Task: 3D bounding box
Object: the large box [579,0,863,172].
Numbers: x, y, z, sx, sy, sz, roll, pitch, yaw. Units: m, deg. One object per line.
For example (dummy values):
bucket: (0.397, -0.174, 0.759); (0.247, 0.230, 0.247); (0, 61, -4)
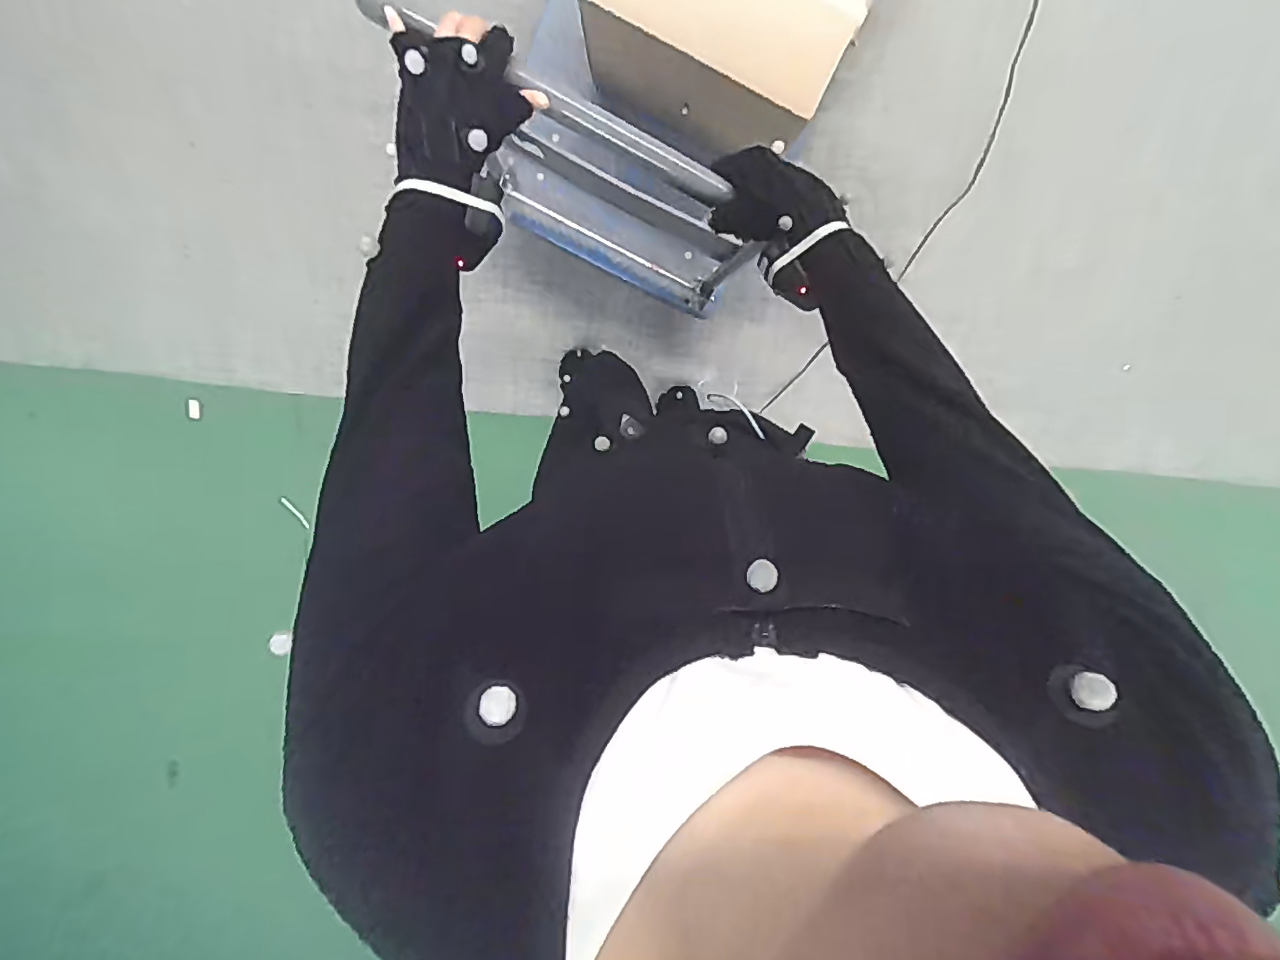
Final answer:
large box: (0.152, -0.822, 0.956); (0.408, 0.320, 0.320); (25, 103, -5)
